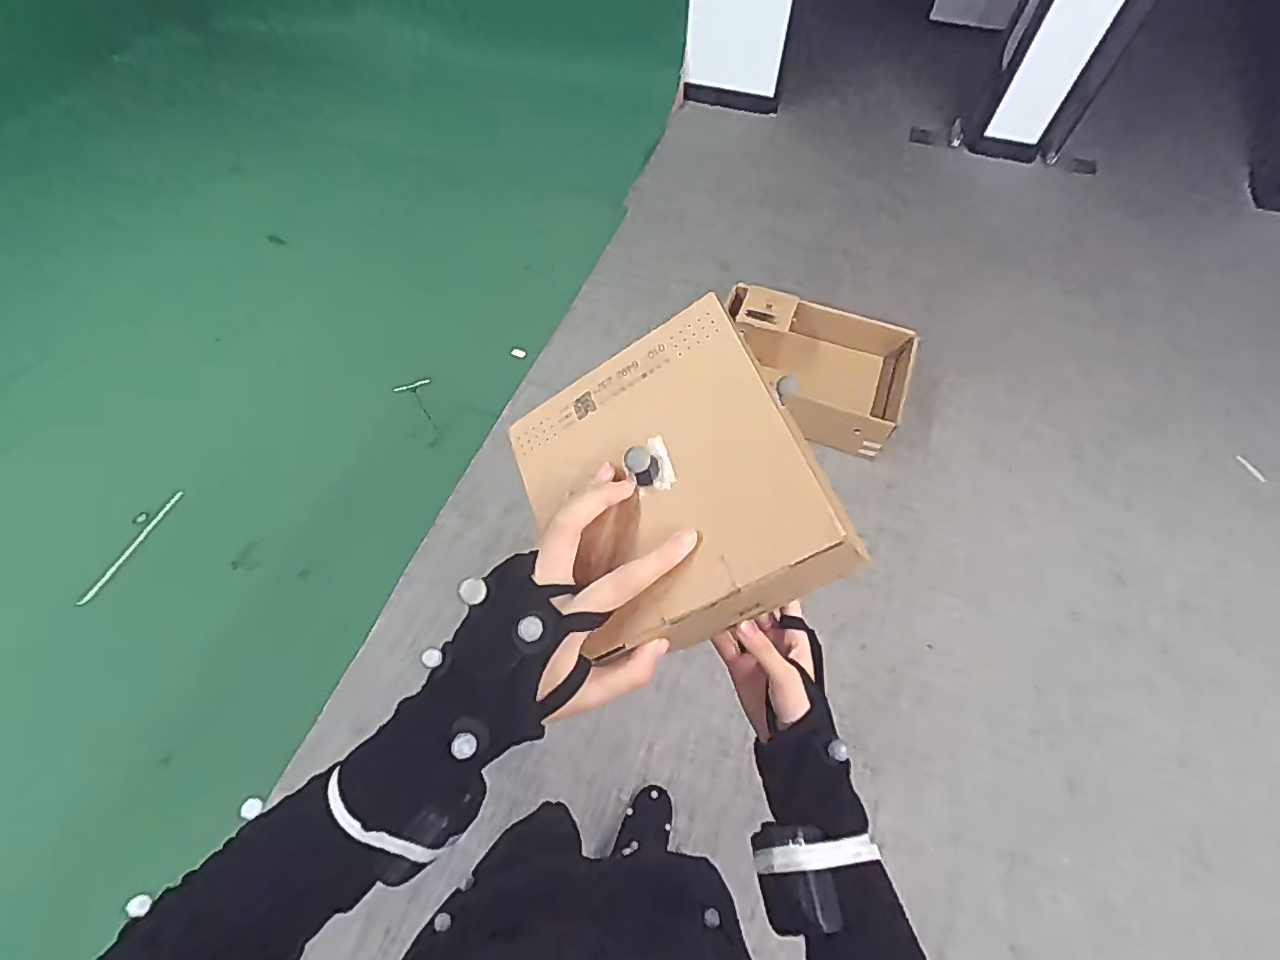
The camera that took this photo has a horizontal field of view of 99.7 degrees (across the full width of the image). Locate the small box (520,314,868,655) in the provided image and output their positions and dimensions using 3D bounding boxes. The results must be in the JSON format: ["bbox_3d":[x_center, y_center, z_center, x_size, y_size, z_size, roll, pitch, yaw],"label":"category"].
[{"bbox_3d":[0.040,0.011,0.387,0.168,0.179,0.176,-28,66,18],"label":"small box"}]
